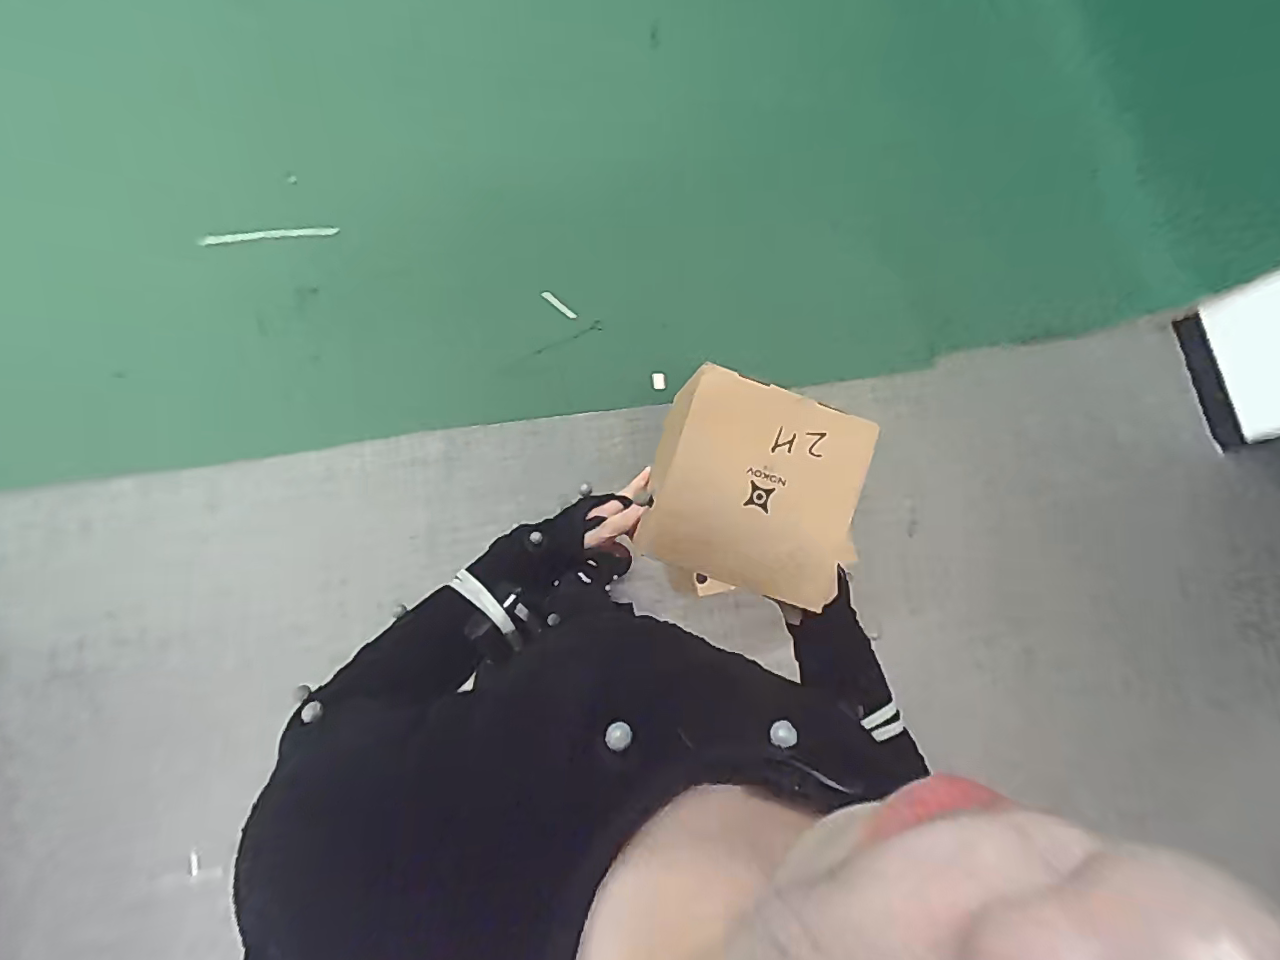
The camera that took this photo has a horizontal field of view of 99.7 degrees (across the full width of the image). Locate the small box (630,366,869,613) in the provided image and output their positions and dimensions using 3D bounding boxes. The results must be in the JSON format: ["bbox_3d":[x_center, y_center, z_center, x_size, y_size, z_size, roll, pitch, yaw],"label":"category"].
[{"bbox_3d":[0.092,0.010,0.543,0.168,0.176,0.179,18,87,-5],"label":"small box"}]

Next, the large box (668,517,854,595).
[{"bbox_3d":[0.269,0.108,1.422,0.408,0.320,0.320,-9,81,-10],"label":"large box"}]
